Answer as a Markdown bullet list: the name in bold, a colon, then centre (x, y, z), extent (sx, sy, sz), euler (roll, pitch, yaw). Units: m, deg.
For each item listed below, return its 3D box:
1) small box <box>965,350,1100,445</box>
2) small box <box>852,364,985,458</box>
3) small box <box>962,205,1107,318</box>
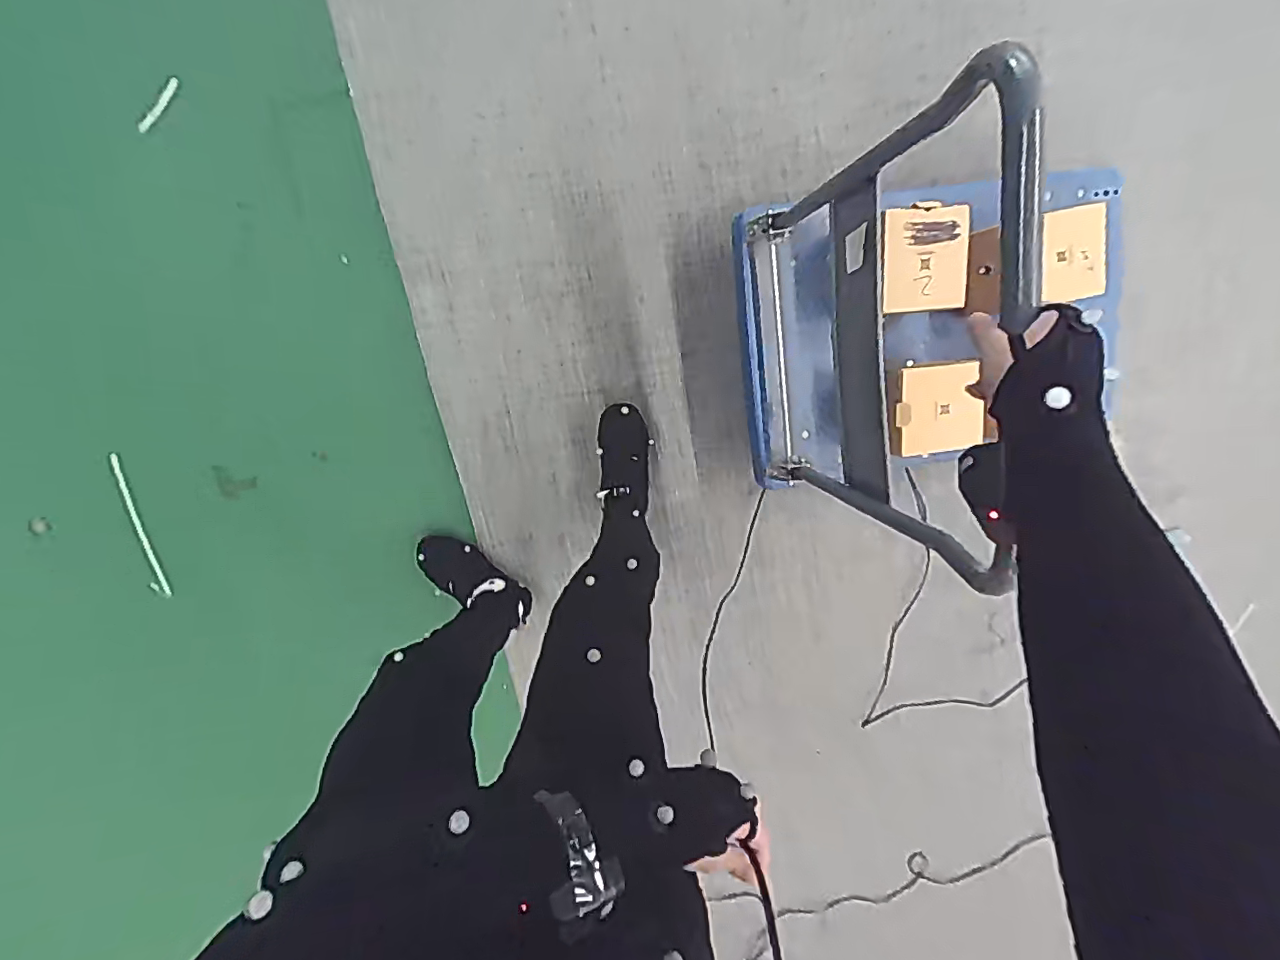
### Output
- **small box**: centre (0.800, -0.176, 1.125), extent (0.179, 0.176, 0.168), euler (-10, 102, -6)
- **small box**: centre (0.555, -0.146, 1.093), extent (0.179, 0.176, 0.168), euler (-7, 102, -7)
- **small box**: centre (0.767, -0.422, 1.069), extent (0.179, 0.176, 0.168), euler (-13, 104, -6)
